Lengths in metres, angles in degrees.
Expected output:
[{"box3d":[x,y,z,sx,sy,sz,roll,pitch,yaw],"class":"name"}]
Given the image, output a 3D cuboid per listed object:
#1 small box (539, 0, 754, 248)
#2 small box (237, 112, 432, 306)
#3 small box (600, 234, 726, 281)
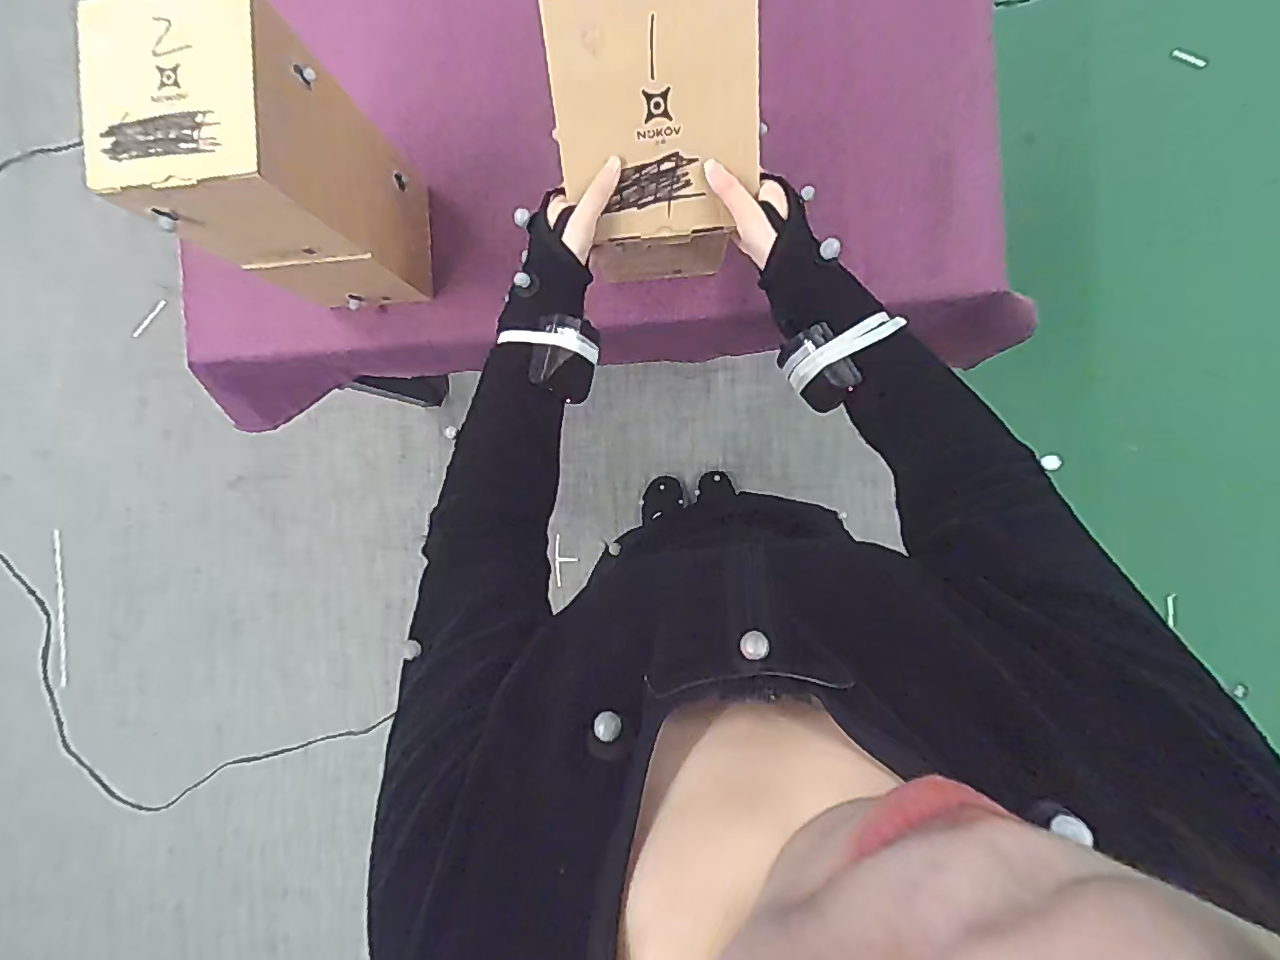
[{"box3d":[0.015,-0.326,0.513,0.168,0.176,0.179,-5,115,4],"class":"small box"},{"box3d":[-0.396,-0.350,0.727,0.168,0.176,0.179,-2,92,4],"class":"small box"},{"box3d":[0.023,-0.380,0.698,0.168,0.176,0.179,-3,90,5],"class":"small box"}]
